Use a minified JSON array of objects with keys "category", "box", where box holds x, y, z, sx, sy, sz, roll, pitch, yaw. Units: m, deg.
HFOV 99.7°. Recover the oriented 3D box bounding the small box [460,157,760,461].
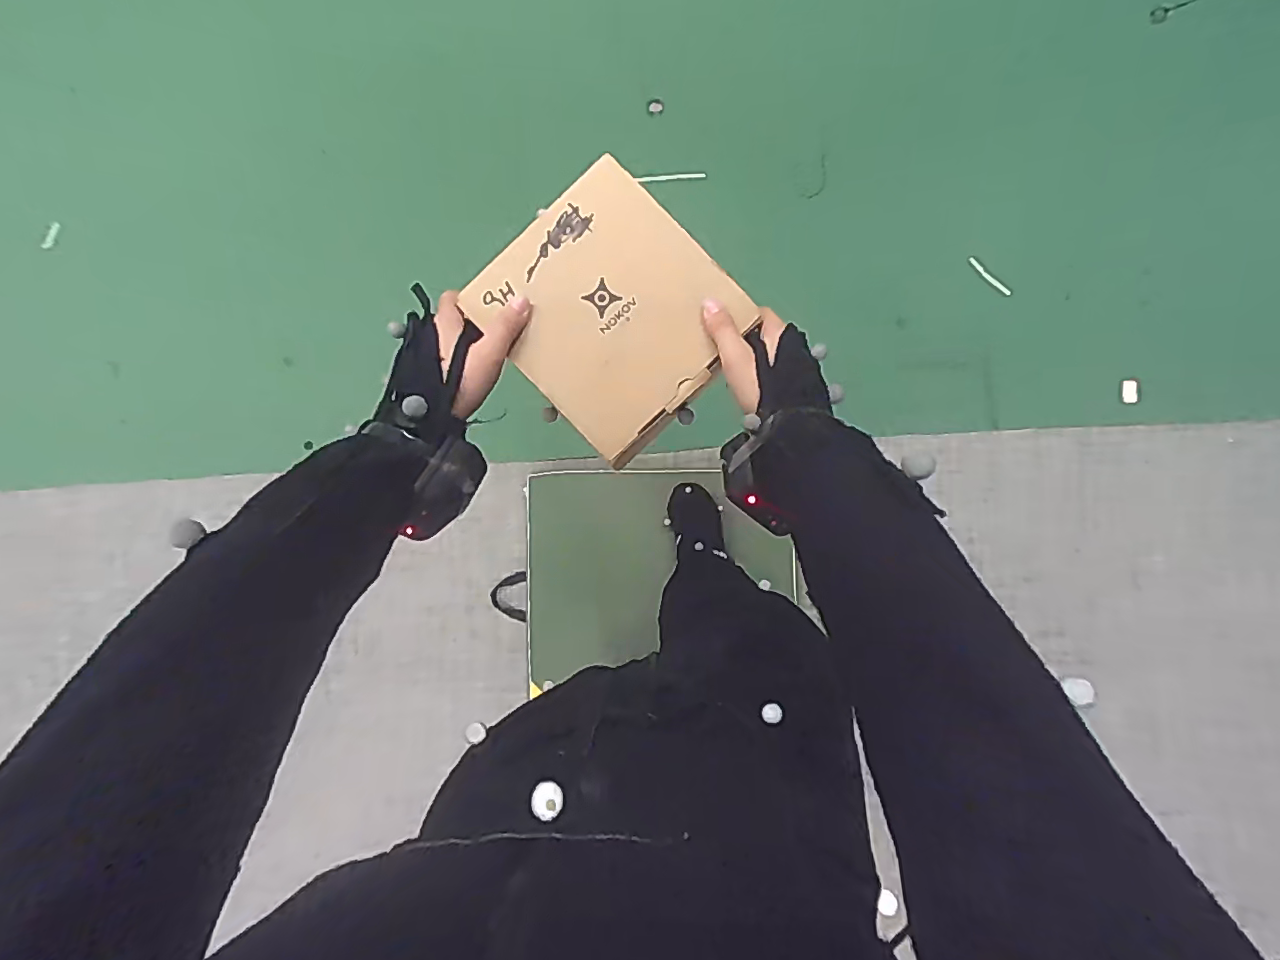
[{"category":"small box","box":[-0.023,-0.133,0.495,0.168,0.176,0.179,-44,90,-1]}]
